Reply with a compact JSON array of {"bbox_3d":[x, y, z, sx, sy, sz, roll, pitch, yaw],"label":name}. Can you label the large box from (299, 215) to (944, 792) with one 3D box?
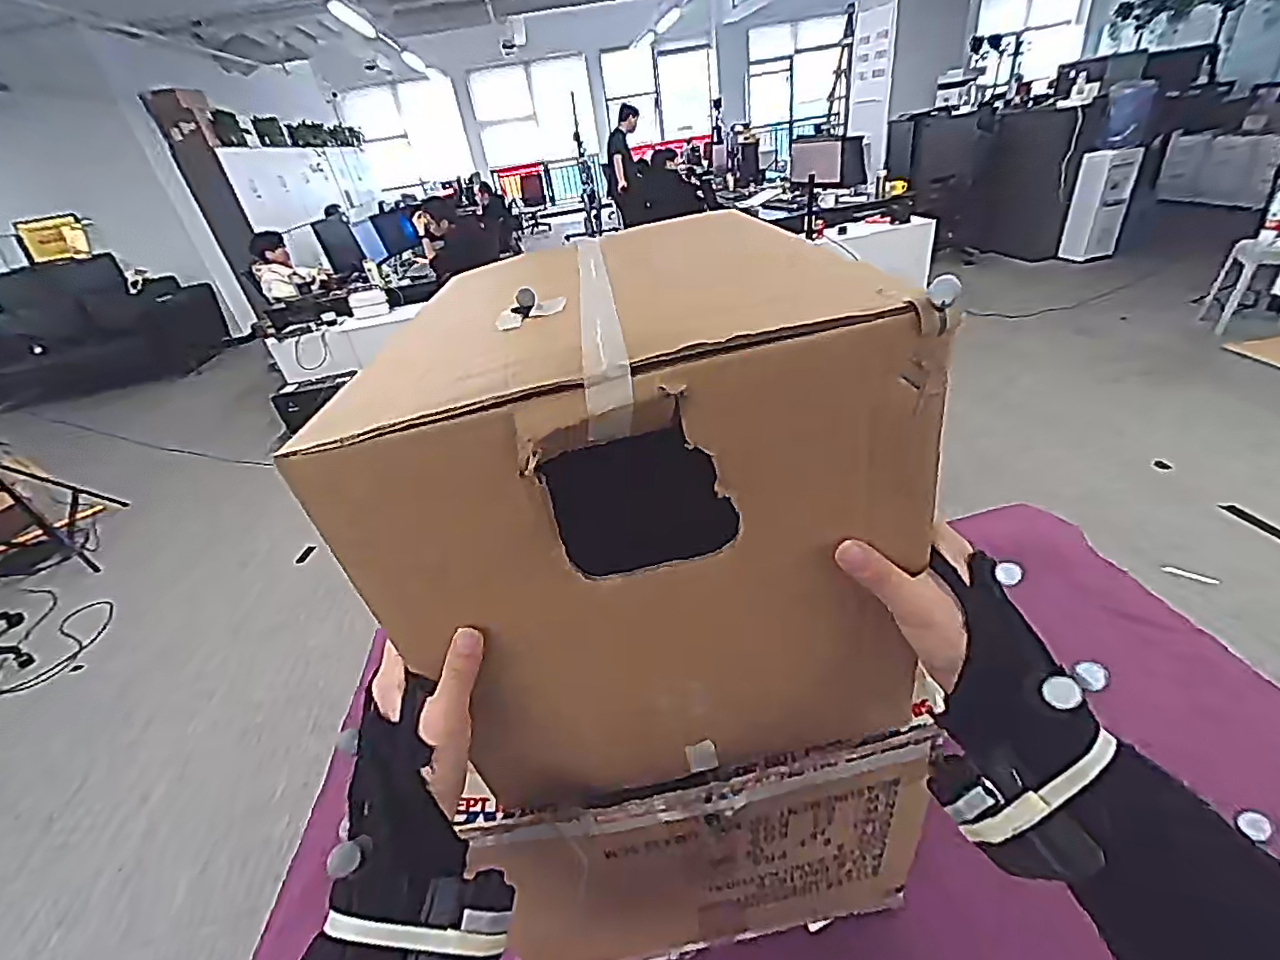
[{"bbox_3d":[-0.003,-0.021,0.489,0.320,0.320,0.408,-14,32,2],"label":"large box"}]
